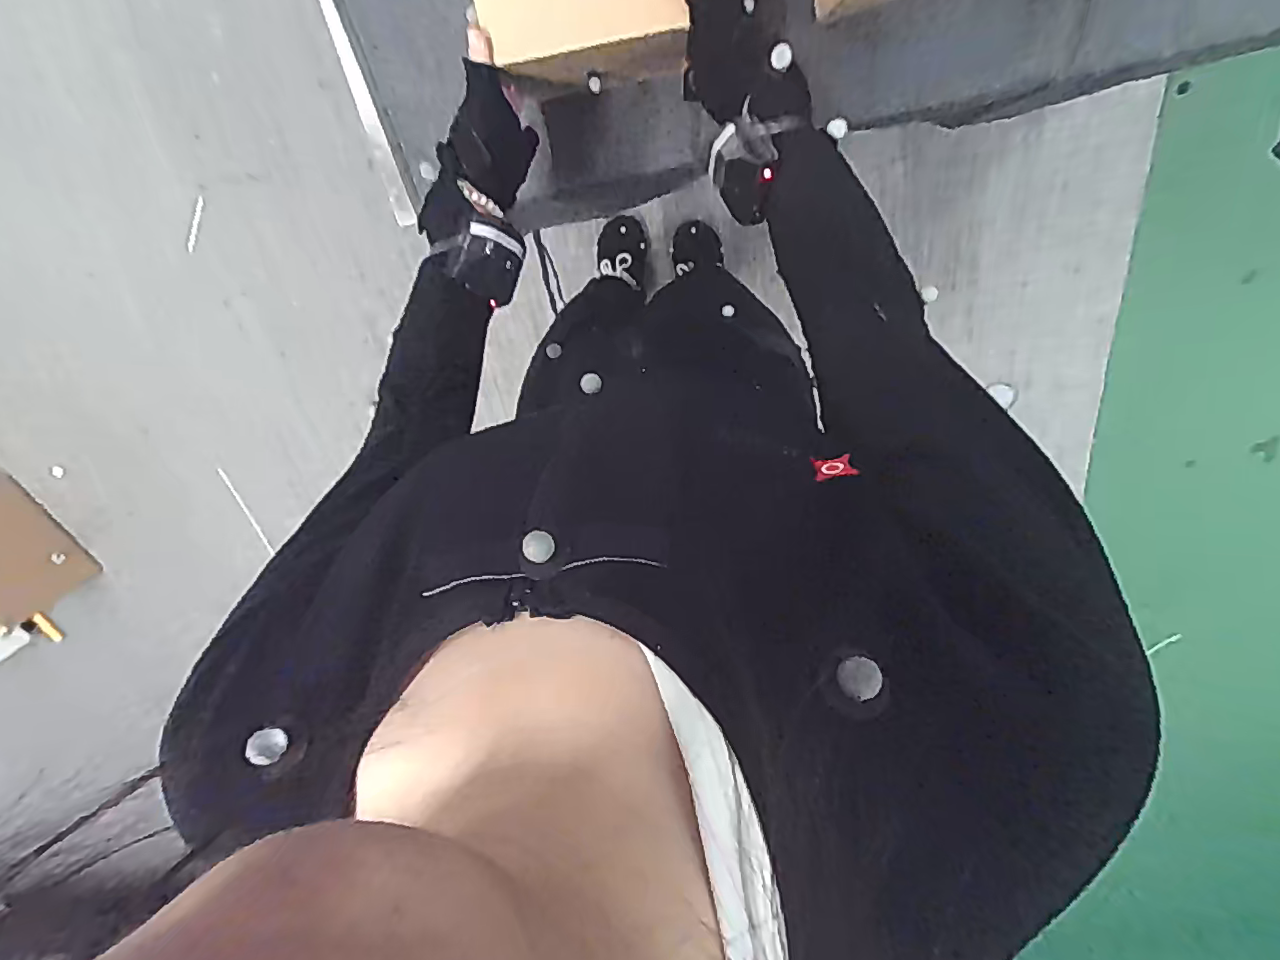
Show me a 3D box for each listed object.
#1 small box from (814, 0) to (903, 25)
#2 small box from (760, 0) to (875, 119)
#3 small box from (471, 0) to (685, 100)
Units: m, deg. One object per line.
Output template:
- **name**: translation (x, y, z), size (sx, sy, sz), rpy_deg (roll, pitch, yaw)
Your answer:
- **small box**: translation (0.232, -0.501, 0.422), size (0.179, 0.176, 0.168), rpy_deg (-13, 116, 9)
- **small box**: translation (0.344, -0.832, 1.062), size (0.179, 0.176, 0.168), rpy_deg (-10, 117, 9)
- **small box**: translation (-0.051, -0.446, 0.462), size (0.168, 0.176, 0.179), rpy_deg (-7, 117, 6)
